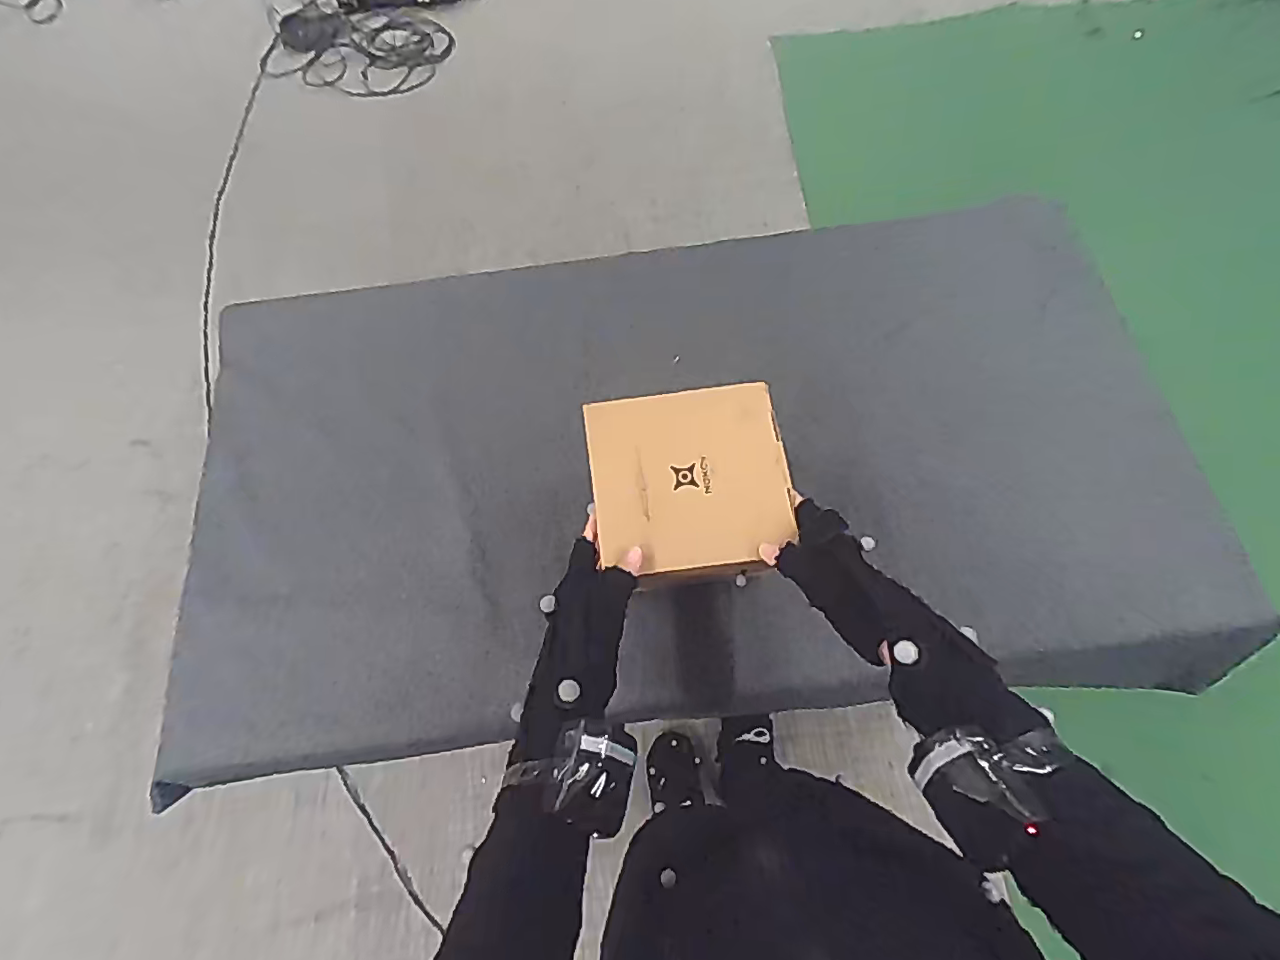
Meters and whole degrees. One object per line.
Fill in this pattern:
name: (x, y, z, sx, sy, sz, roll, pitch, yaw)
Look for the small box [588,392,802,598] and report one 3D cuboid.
small box: (0.048, 0.026, 0.570, 0.179, 0.176, 0.168, -9, 73, 0)
